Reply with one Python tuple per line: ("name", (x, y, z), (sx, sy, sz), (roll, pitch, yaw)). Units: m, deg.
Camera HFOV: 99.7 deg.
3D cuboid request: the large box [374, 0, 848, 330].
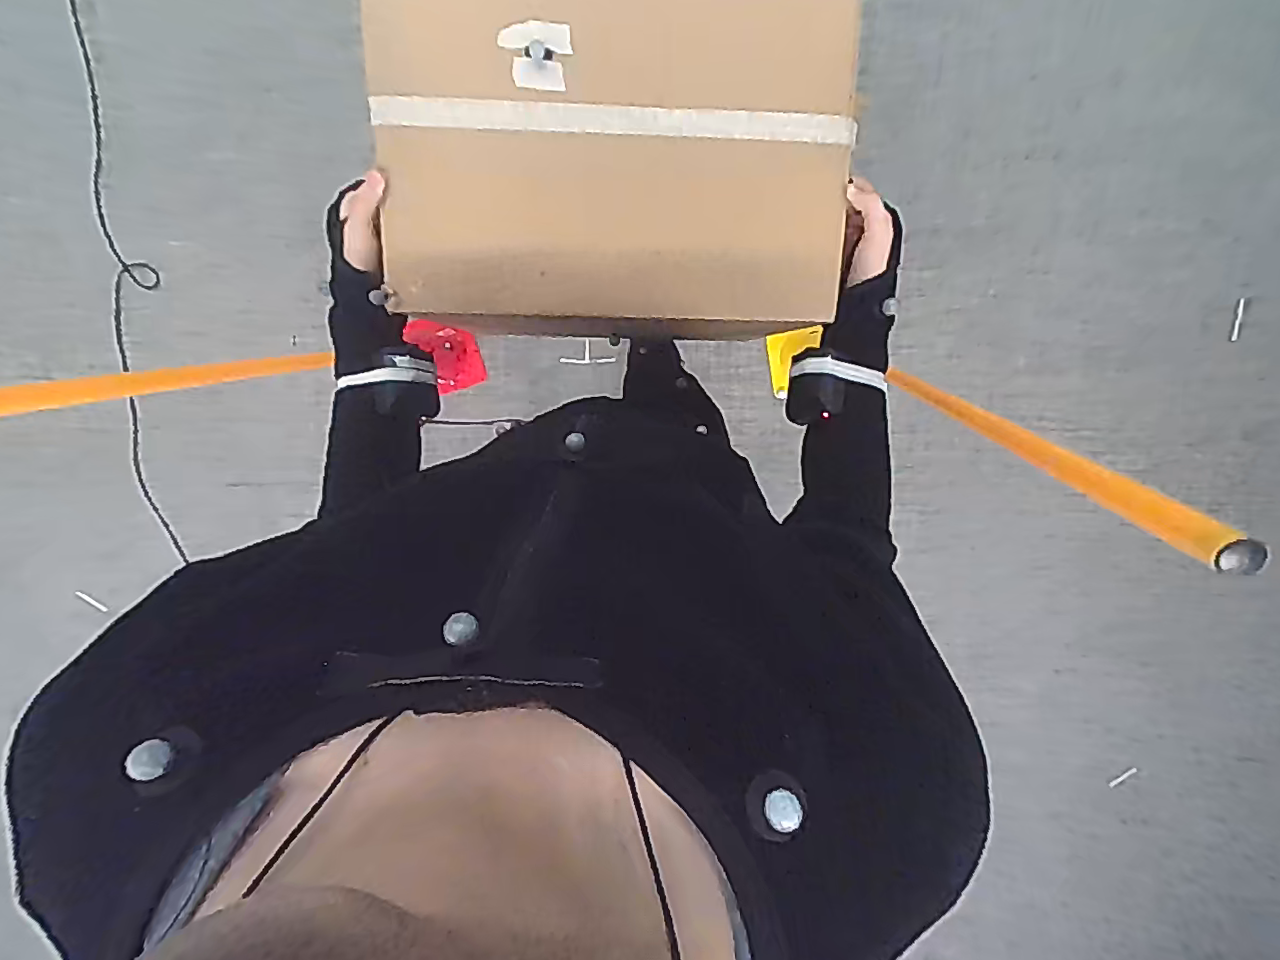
("large box", (-0.027, -0.336, 0.615), (0.408, 0.320, 0.320), (0, 101, -3))
